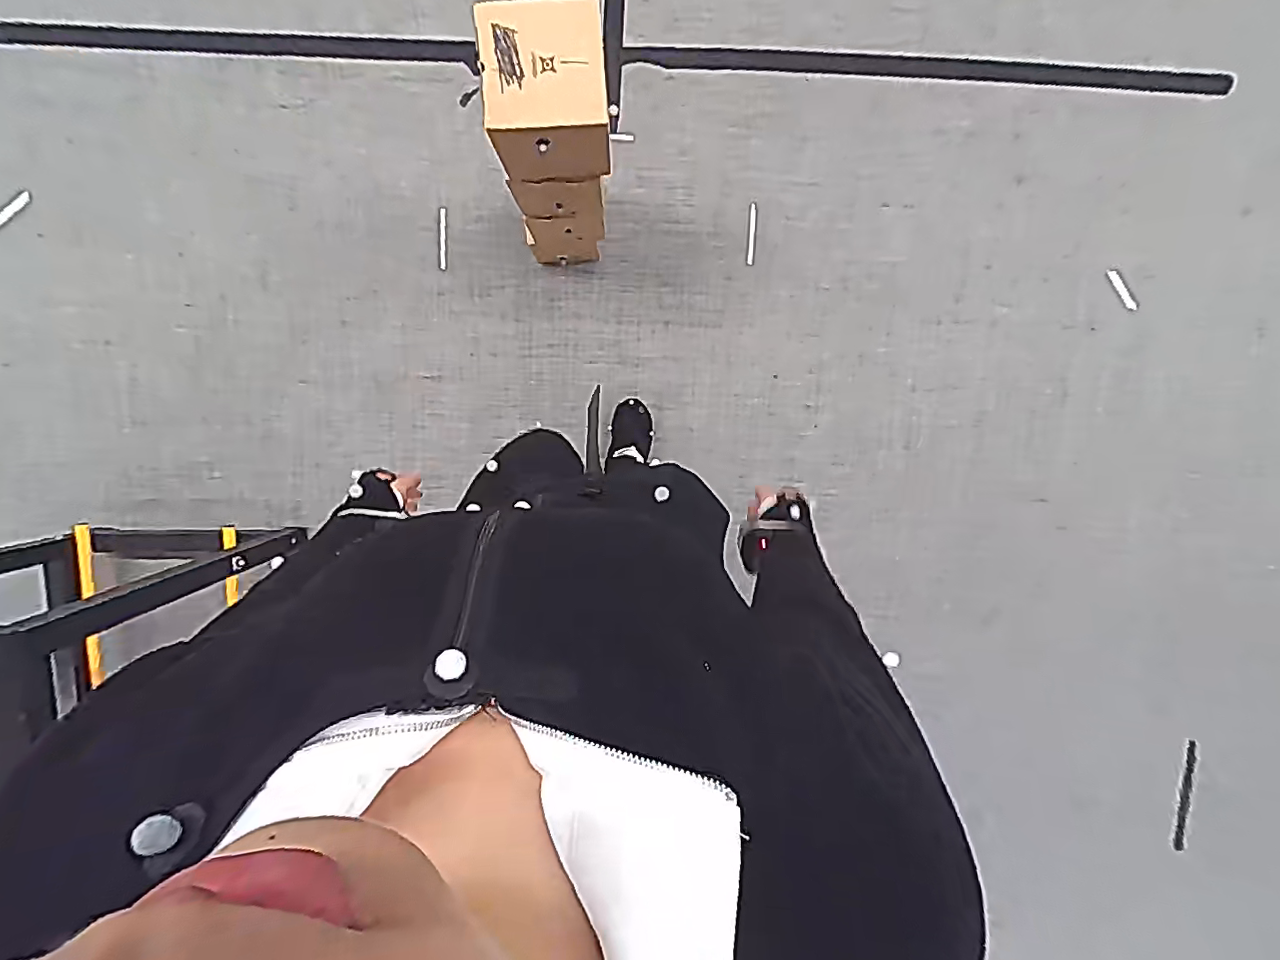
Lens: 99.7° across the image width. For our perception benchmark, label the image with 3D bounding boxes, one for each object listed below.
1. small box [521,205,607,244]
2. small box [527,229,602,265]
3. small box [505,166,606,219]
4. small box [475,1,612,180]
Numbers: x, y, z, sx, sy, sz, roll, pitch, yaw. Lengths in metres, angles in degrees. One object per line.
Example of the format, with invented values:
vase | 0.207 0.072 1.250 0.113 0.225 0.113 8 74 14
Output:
small box | -0.162 -0.618 1.157 0.168 0.176 0.179 -5 98 0
small box | -0.184 -0.640 1.319 0.168 0.176 0.179 -4 99 0
small box | -0.150 -0.601 0.993 0.168 0.176 0.179 0 97 0
small box | -0.137 -0.581 0.829 0.179 0.176 0.168 -4 97 -1
